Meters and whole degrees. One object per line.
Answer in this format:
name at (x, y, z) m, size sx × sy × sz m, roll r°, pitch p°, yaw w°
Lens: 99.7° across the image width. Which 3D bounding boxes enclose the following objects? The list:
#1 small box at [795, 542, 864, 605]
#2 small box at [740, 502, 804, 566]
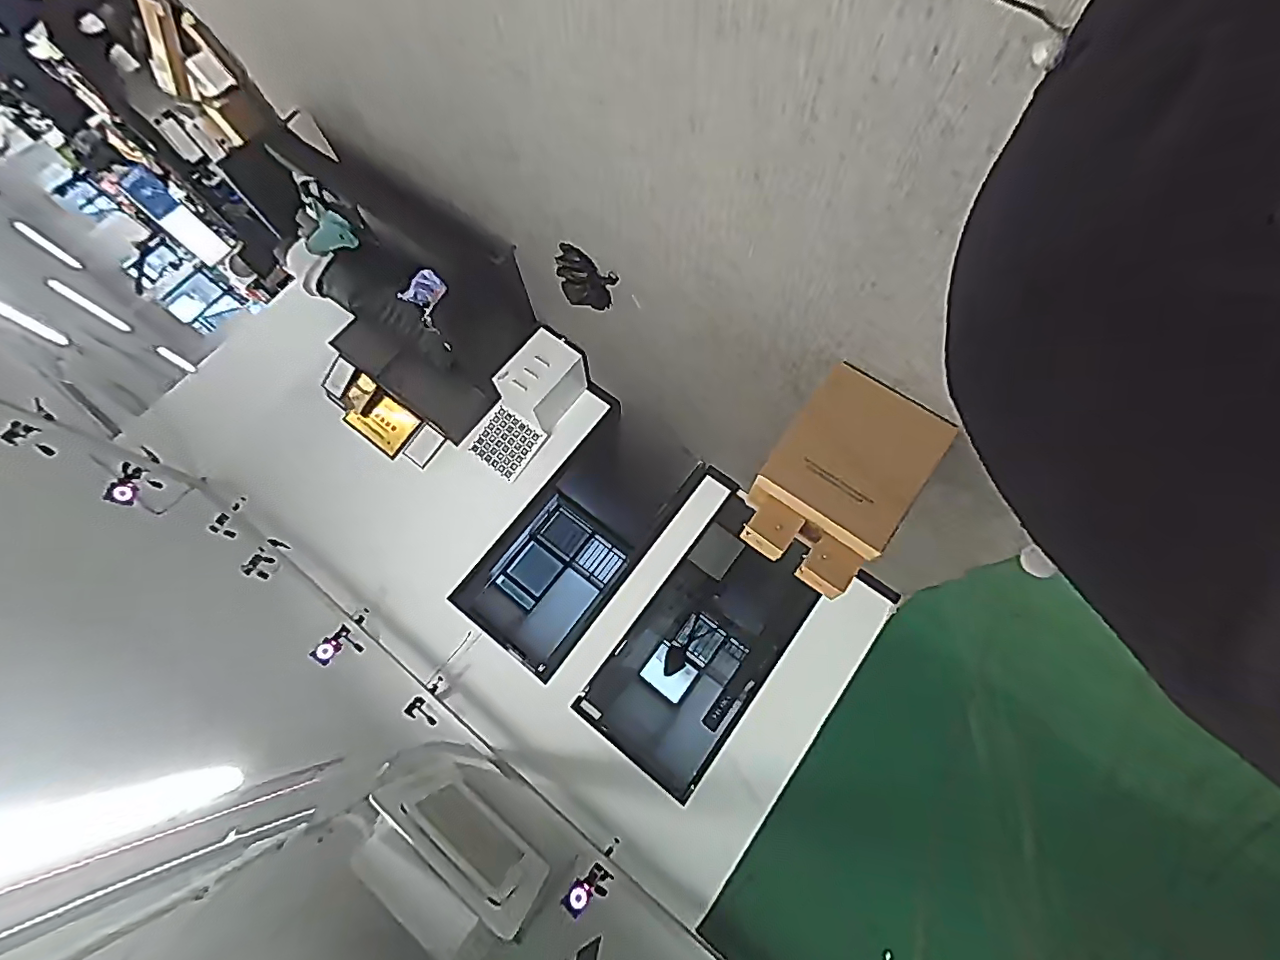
small box at (0.743, 0.362, 2.122) m, size 0.179 × 0.176 × 0.168 m, roll 34°, pitch 163°, yaw 15°
small box at (0.534, 0.216, 2.184) m, size 0.179 × 0.176 × 0.168 m, roll 35°, pitch 162°, yaw 12°
